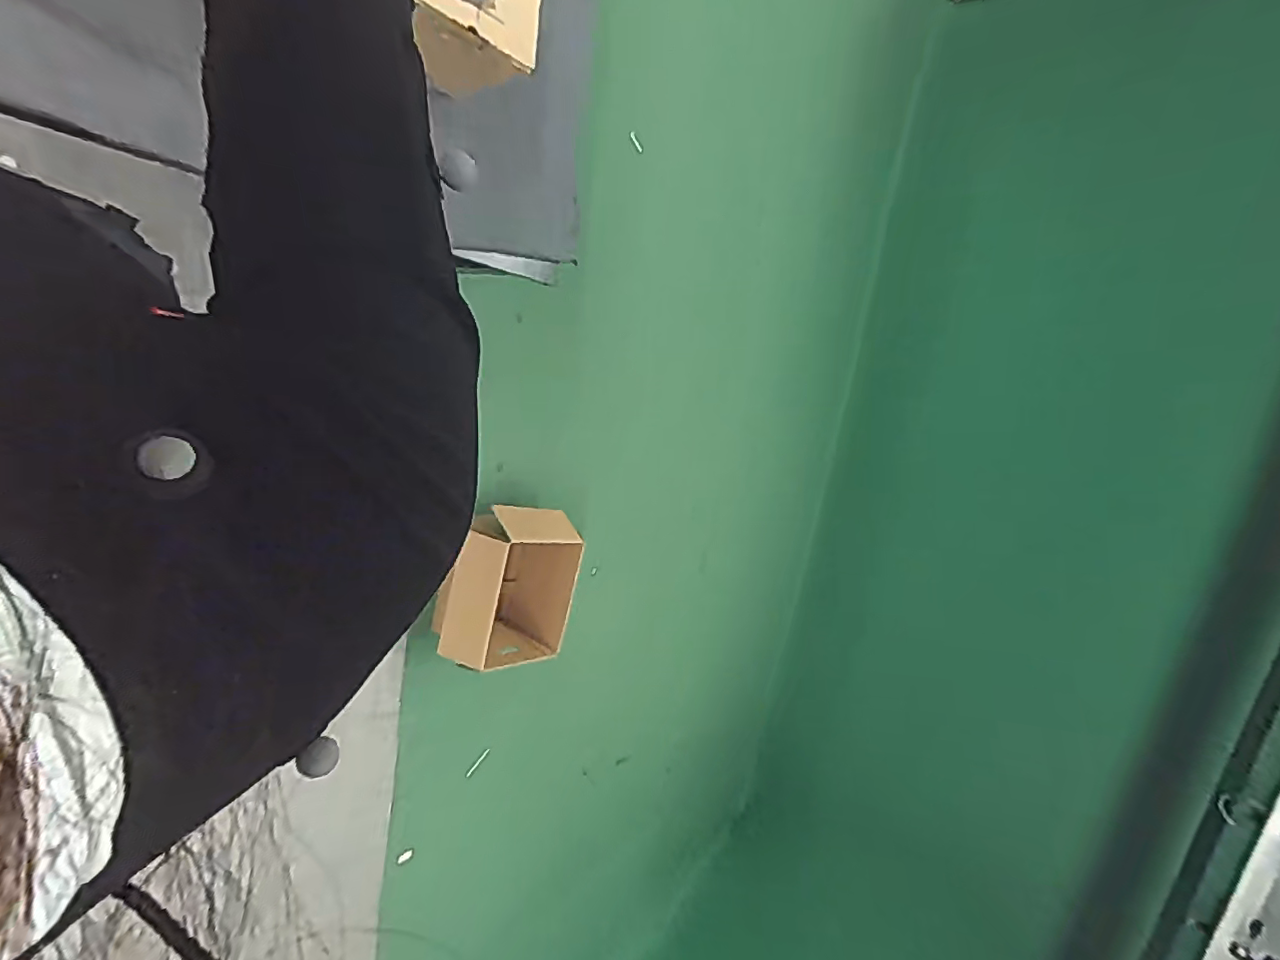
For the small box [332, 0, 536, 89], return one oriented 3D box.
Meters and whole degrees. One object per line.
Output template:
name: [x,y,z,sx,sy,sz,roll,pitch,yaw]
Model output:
small box: [-0.232,-0.586,0.614,0.168,0.176,0.179,-5,108,-50]
